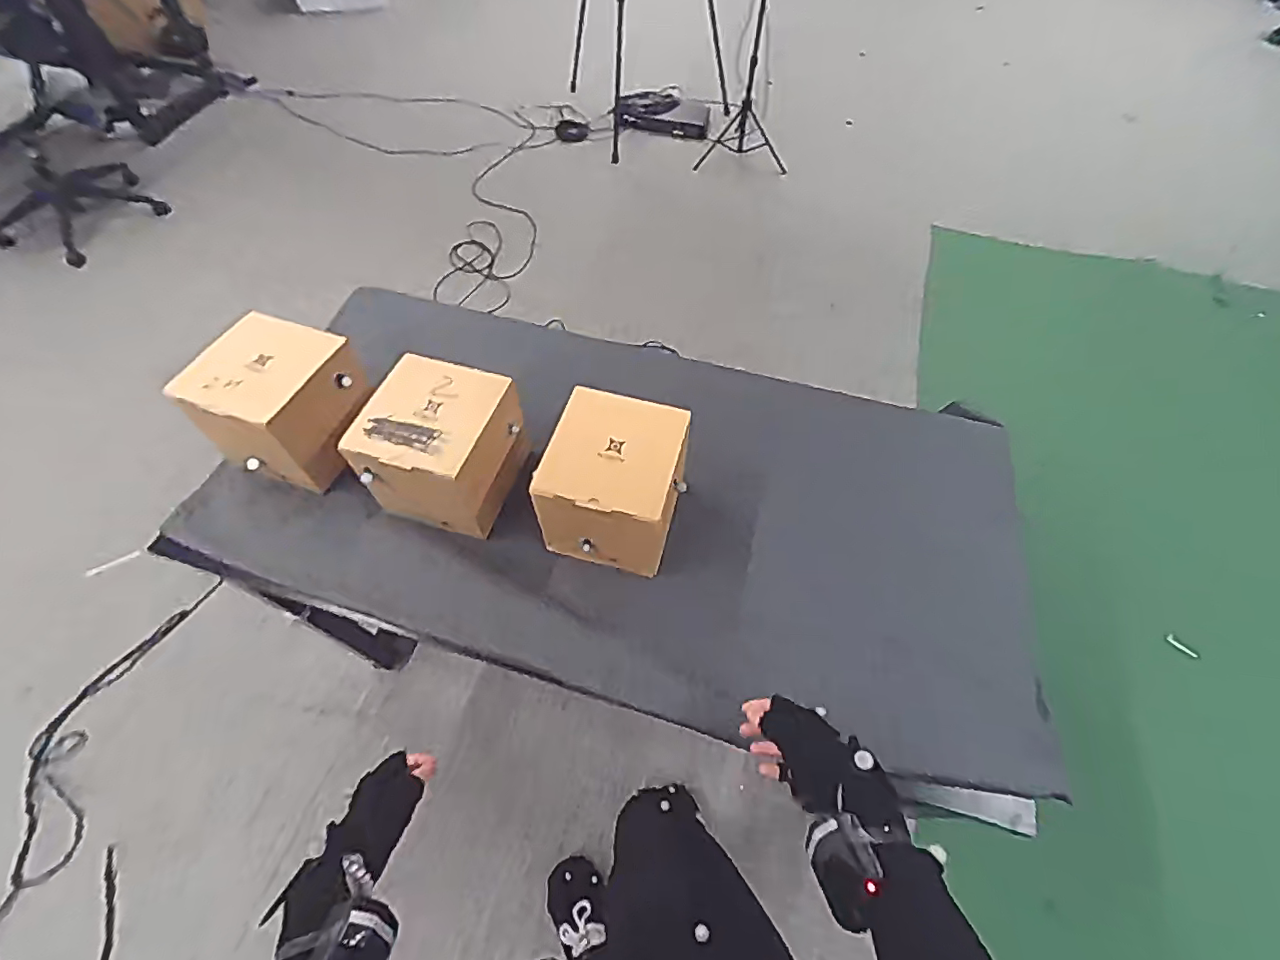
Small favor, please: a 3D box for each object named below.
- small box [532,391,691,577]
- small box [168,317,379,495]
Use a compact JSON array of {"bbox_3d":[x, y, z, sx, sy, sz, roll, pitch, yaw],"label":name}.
[{"bbox_3d":[-0.035,0.009,0.755,0.168,0.176,0.179,13,59,7],"label":"small box"},{"bbox_3d":[-0.526,-0.108,0.814,0.168,0.176,0.179,17,57,9],"label":"small box"}]
